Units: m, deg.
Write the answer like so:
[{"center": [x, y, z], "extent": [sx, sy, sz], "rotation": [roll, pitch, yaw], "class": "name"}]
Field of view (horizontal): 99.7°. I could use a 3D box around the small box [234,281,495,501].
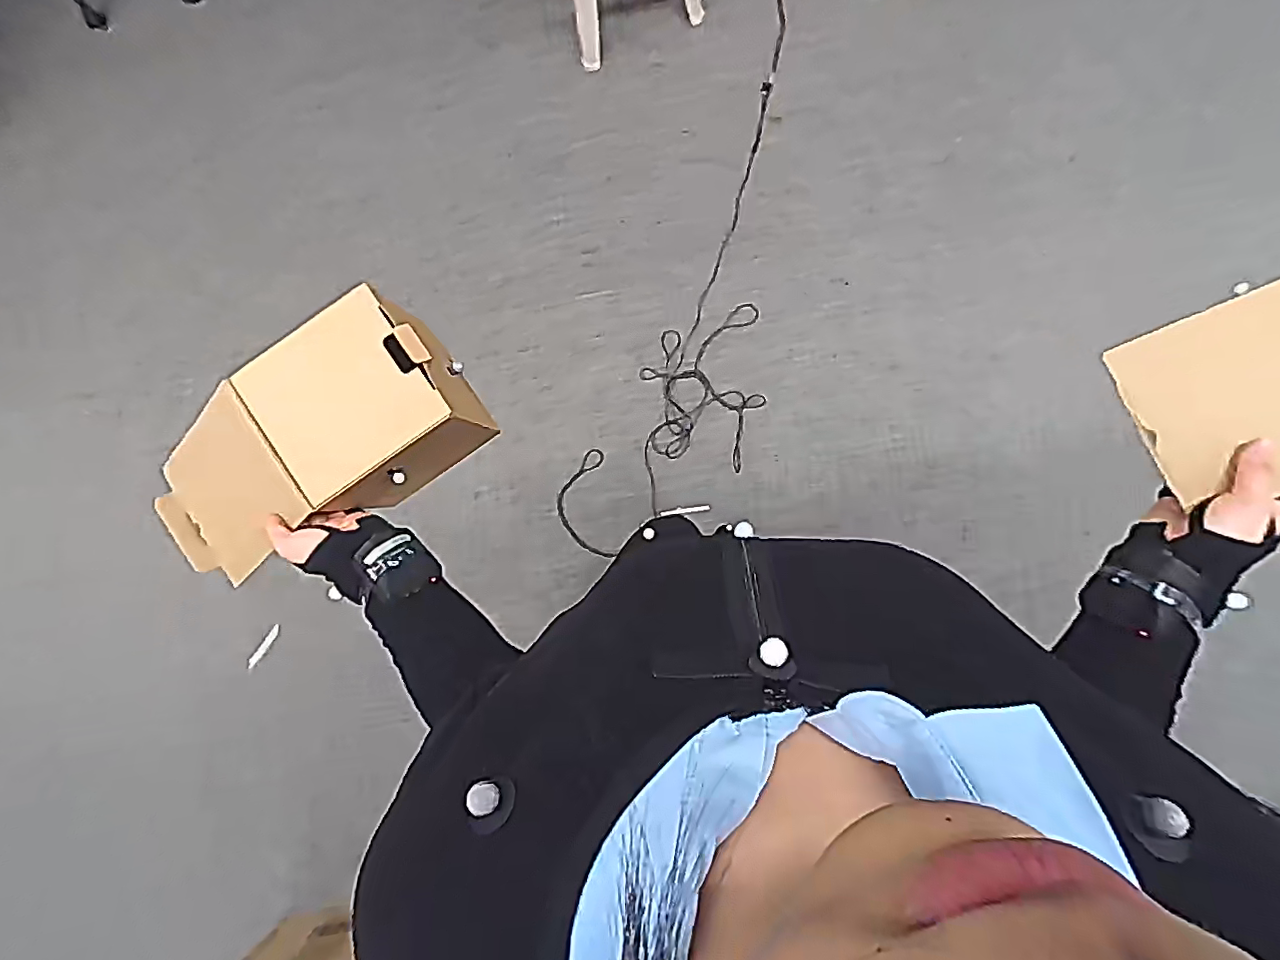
[{"center": [-0.300, -0.089, 0.629], "extent": [0.179, 0.176, 0.168], "rotation": [-33, 89, 1], "class": "small box"}]
